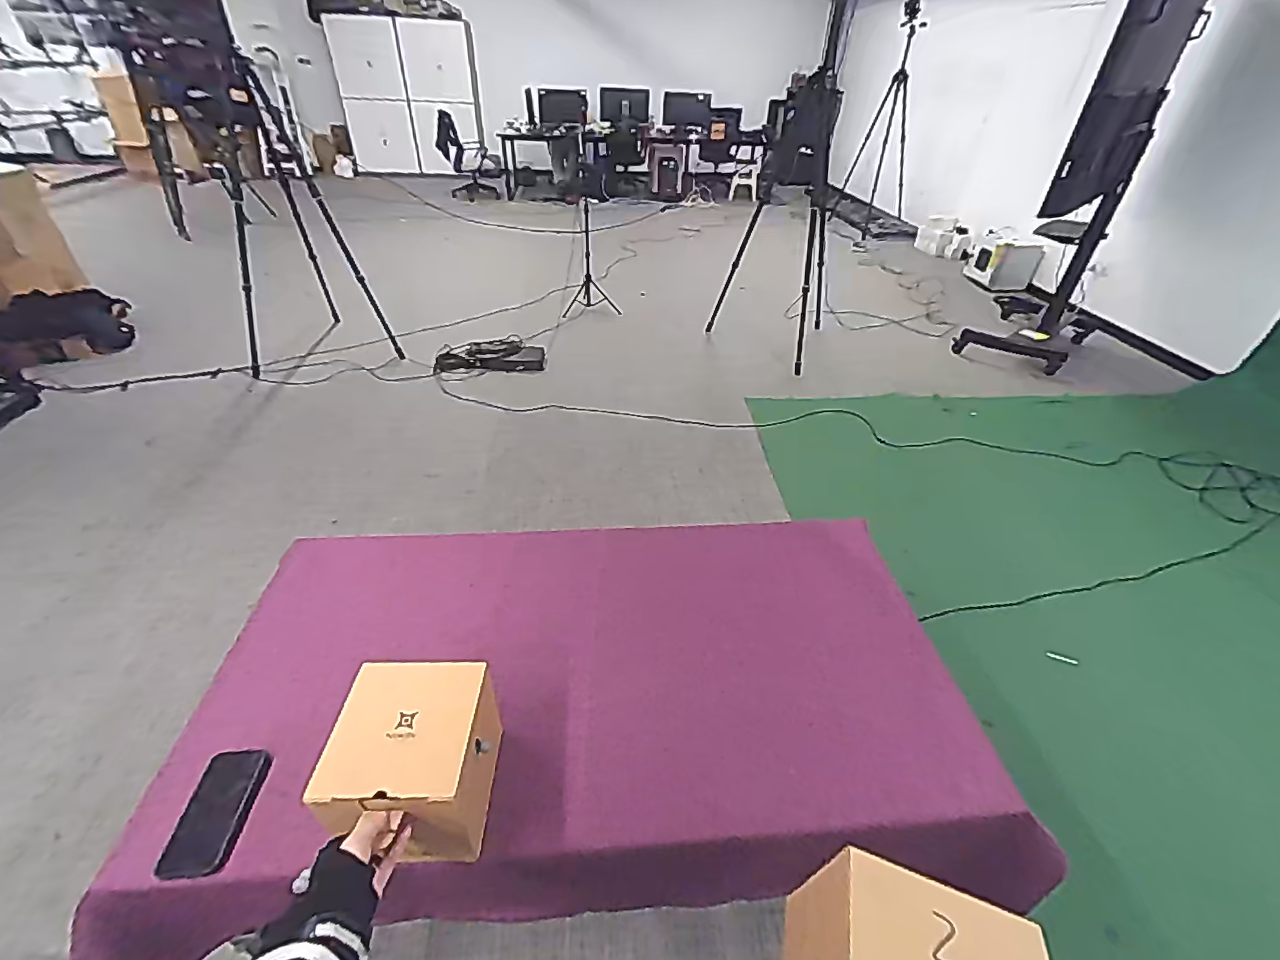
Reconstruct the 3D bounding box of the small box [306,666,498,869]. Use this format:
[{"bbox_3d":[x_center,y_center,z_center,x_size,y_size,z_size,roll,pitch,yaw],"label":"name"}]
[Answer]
[{"bbox_3d":[-0.284,0.365,0.696,0.168,0.176,0.179,2,36,-2],"label":"small box"}]
